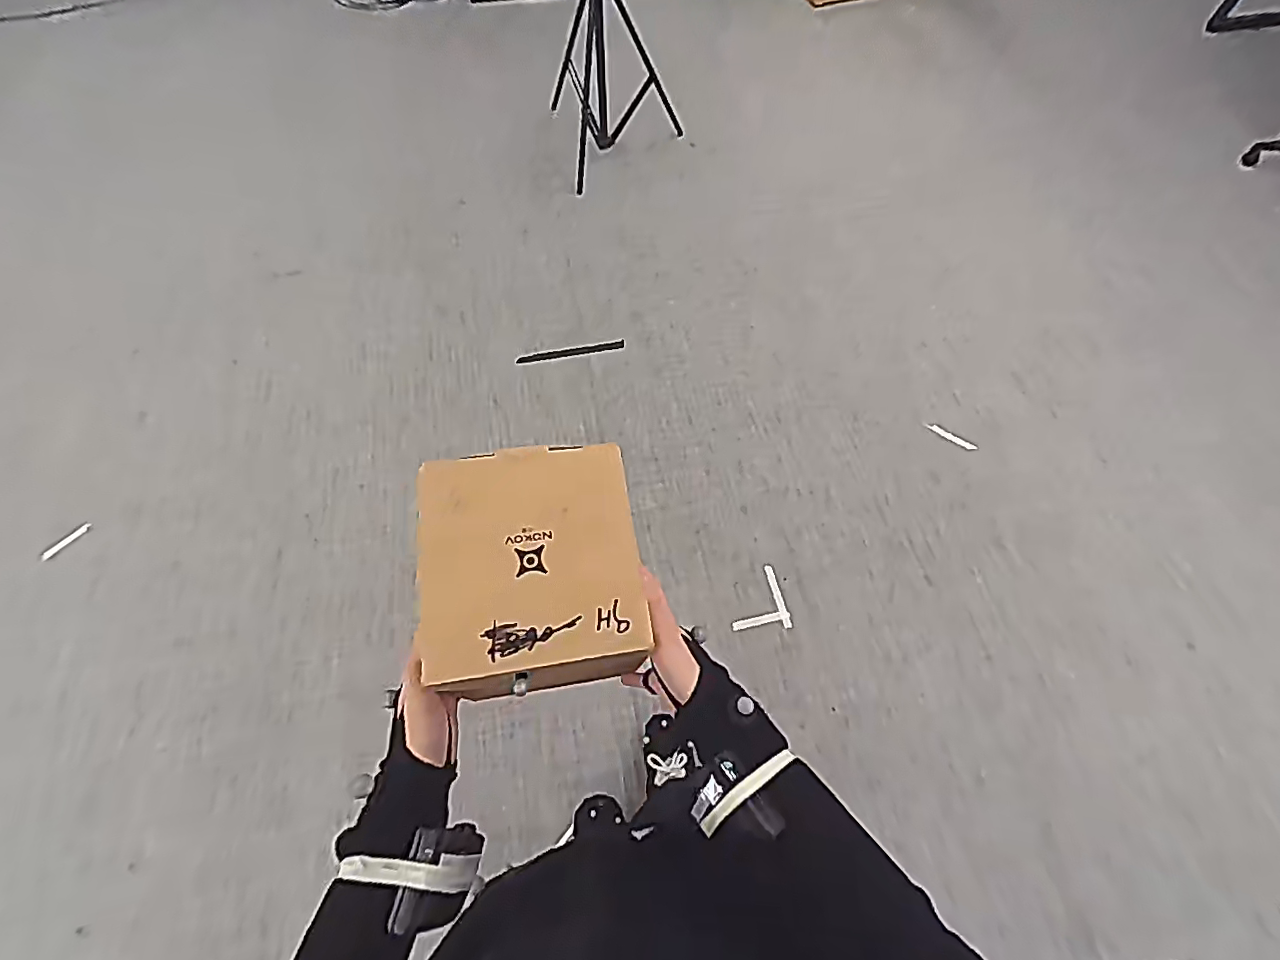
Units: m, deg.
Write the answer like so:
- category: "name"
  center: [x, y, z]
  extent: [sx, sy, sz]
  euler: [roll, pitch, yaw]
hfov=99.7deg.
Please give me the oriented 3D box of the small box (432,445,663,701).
- category: "small box"
  center: [-0.084, 0.090, 0.488]
  extent: [0.168, 0.176, 0.179]
  euler: [-7, 65, -9]
